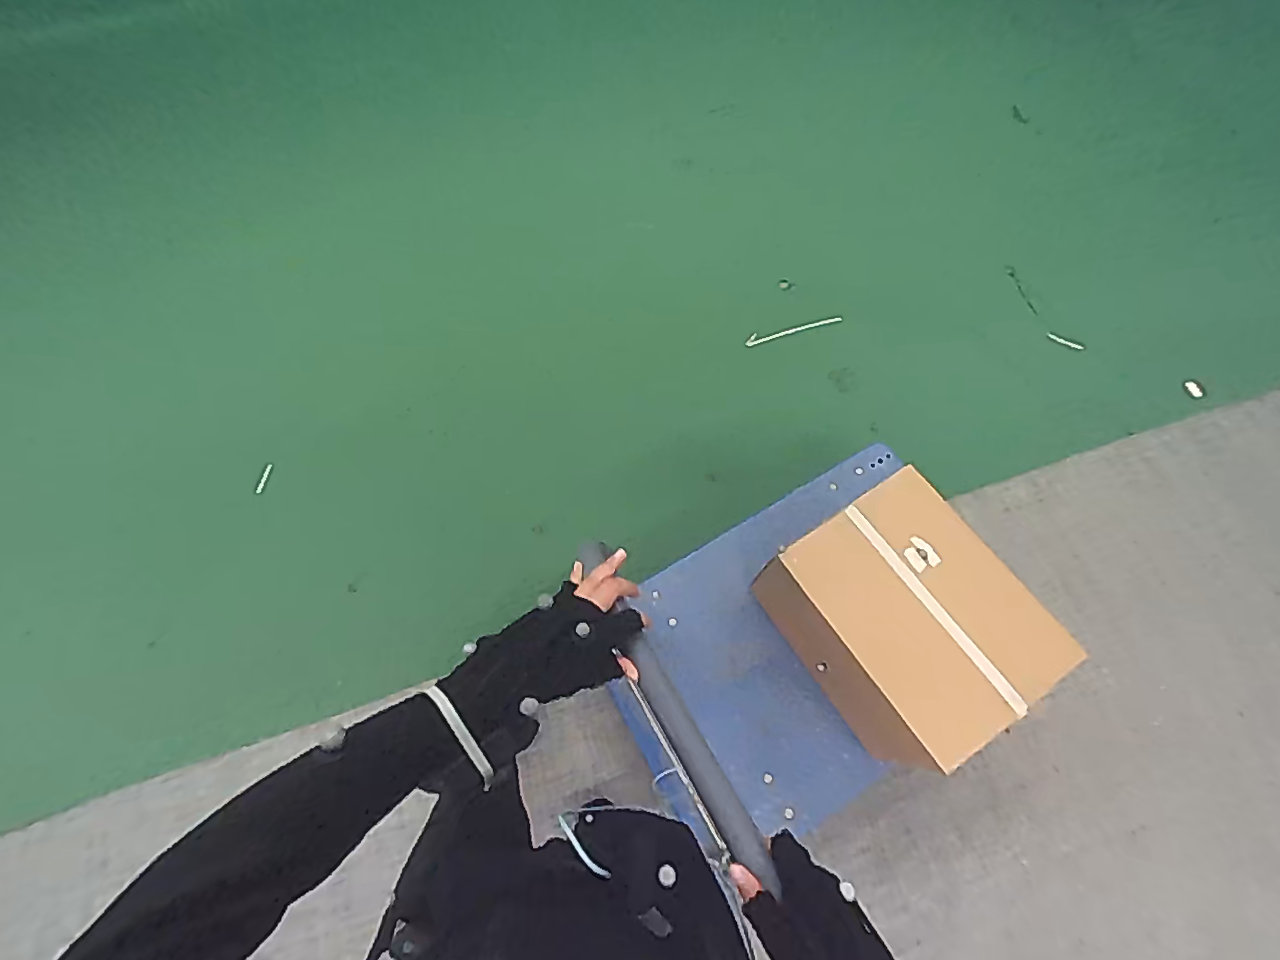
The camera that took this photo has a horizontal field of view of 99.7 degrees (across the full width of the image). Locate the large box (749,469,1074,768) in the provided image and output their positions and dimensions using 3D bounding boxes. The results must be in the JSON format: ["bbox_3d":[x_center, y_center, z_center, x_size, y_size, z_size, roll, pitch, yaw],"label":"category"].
[{"bbox_3d":[0.465,0.262,1.034,0.320,0.320,0.408,-31,69,-11],"label":"large box"}]
